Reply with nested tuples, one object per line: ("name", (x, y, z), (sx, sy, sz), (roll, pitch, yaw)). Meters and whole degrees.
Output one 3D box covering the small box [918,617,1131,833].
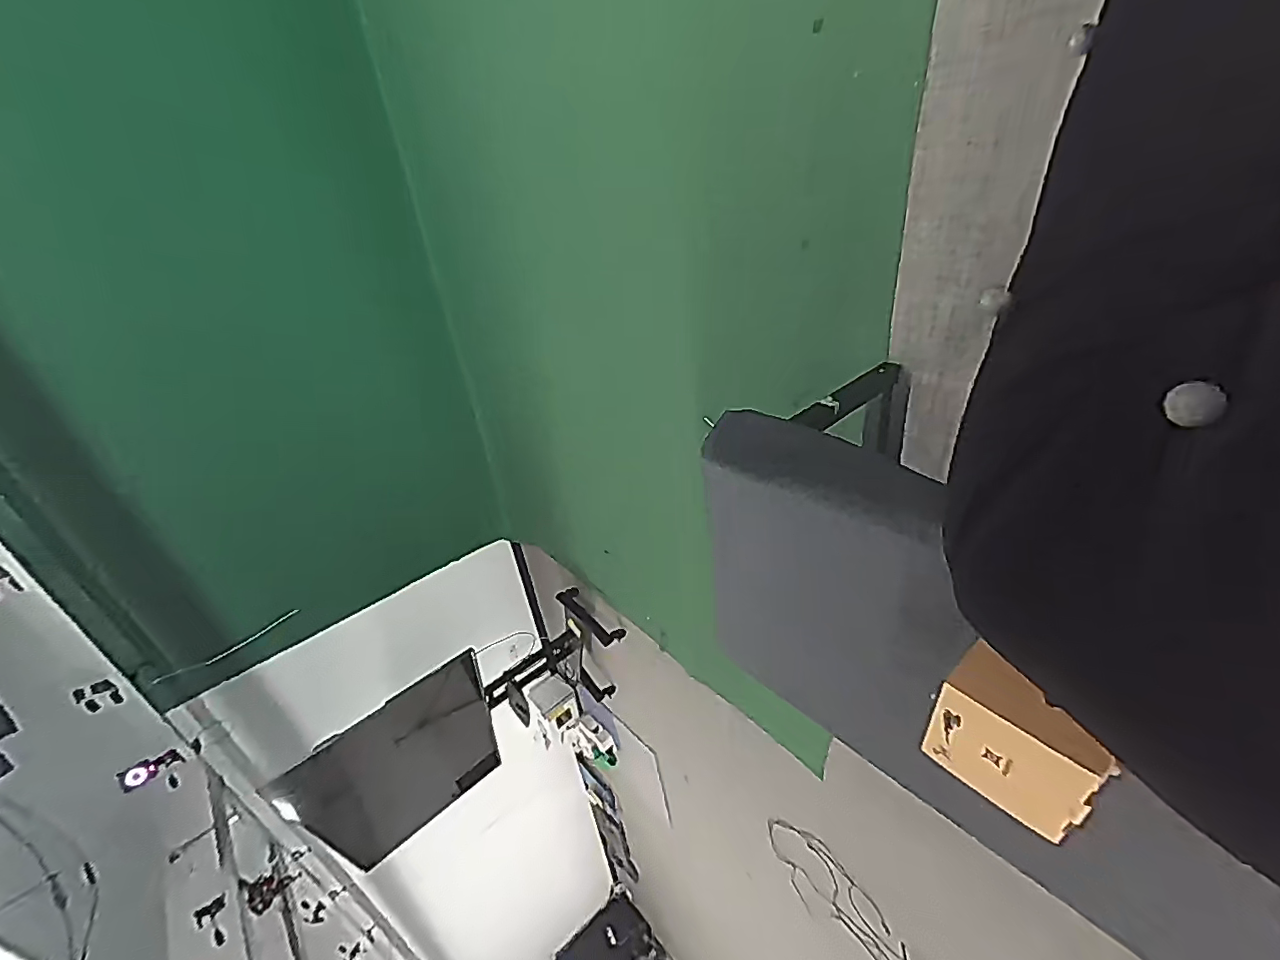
("small box", (0.522, 0.323, 0.743), (0.179, 0.176, 0.168), (30, 138, 42))
